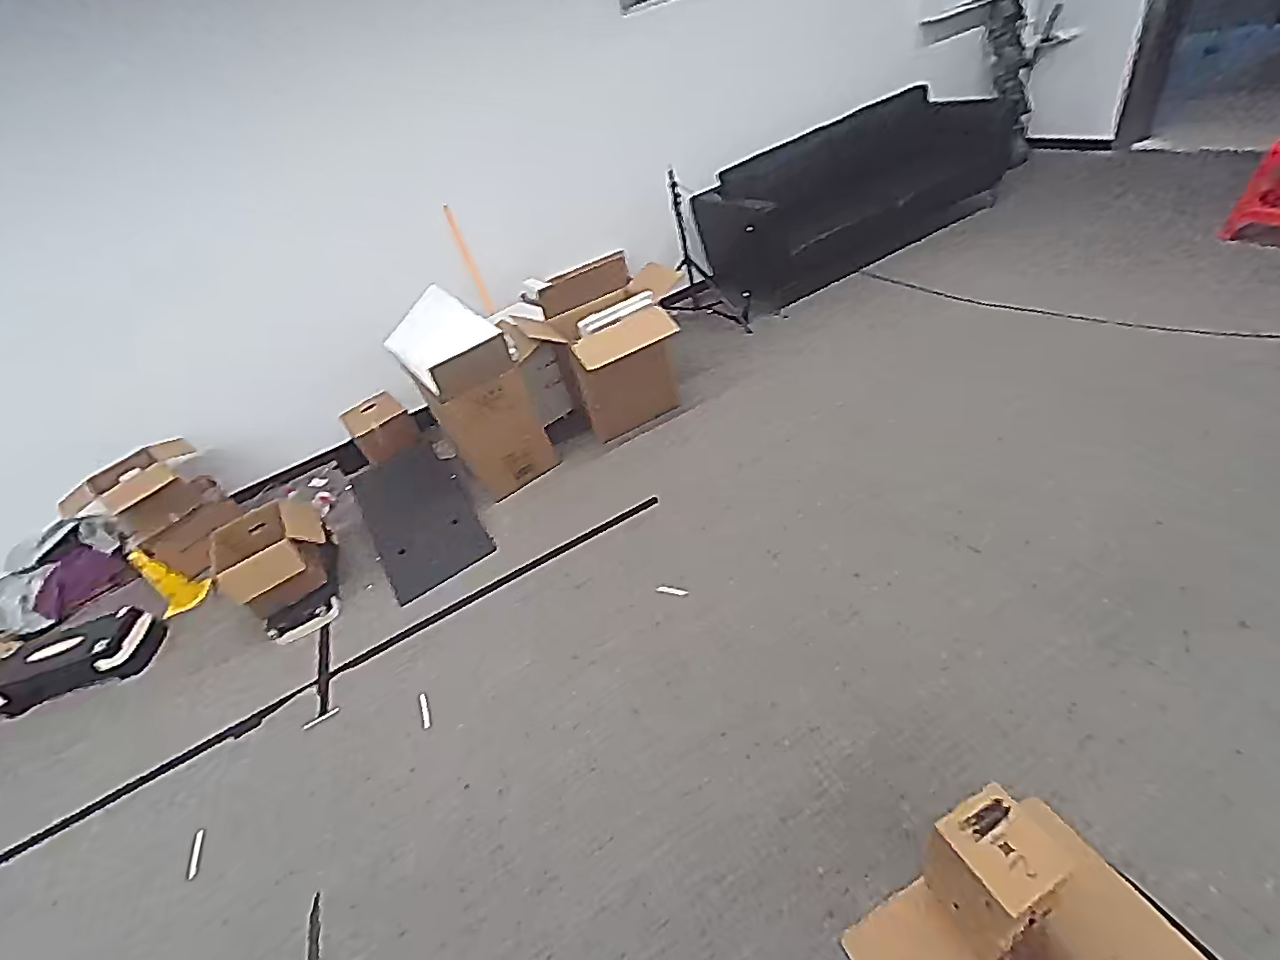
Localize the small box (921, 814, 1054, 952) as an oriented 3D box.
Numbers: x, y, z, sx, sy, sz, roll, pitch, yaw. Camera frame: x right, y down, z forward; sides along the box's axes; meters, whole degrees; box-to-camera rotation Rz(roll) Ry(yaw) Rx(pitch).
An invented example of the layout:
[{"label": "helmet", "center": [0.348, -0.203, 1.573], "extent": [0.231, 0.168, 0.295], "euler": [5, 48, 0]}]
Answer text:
[{"label": "small box", "center": [0.750, 0.888, 1.186], "extent": [0.168, 0.176, 0.179], "euler": [-26, 38, -11]}]
